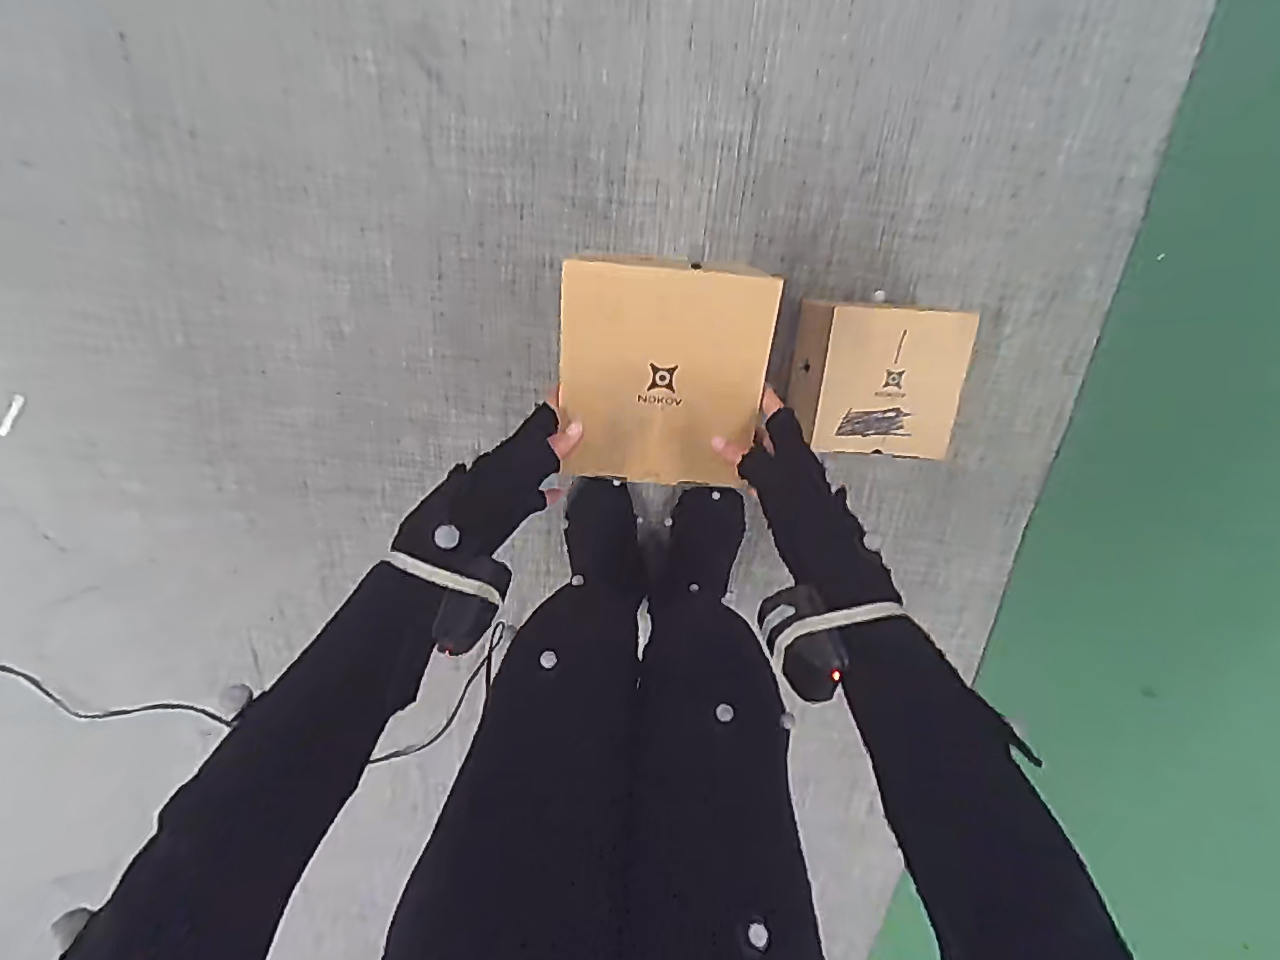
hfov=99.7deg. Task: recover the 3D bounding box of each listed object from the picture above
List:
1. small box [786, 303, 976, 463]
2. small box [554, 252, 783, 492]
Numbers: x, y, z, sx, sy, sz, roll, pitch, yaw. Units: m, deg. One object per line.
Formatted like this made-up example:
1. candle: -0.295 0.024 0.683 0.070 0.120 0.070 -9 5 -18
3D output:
1. small box: 0.298 -0.135 0.714 0.168 0.176 0.179 4 109 2
2. small box: 0.016 -0.107 0.495 0.168 0.176 0.179 4 116 -2
